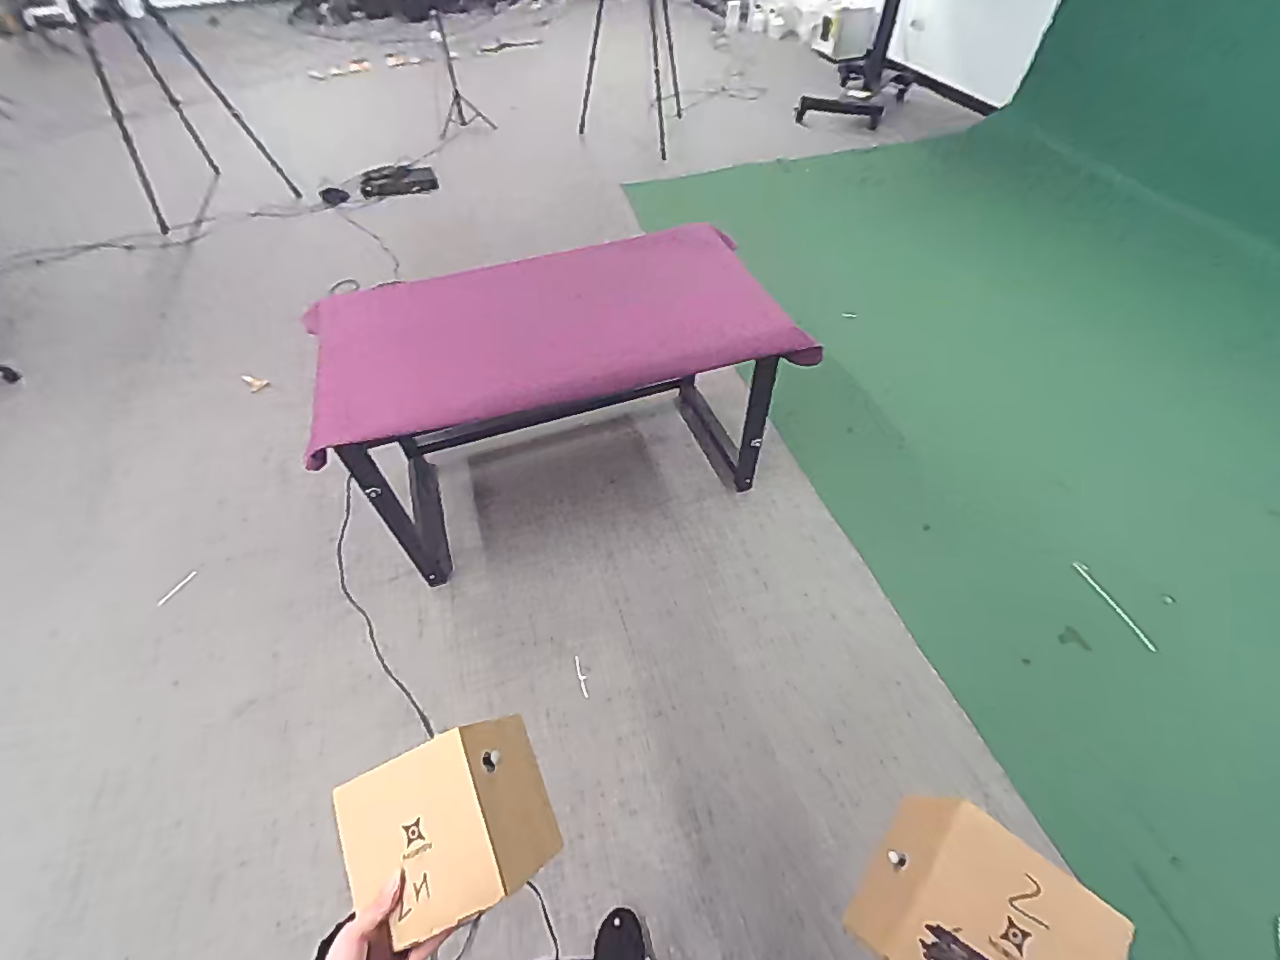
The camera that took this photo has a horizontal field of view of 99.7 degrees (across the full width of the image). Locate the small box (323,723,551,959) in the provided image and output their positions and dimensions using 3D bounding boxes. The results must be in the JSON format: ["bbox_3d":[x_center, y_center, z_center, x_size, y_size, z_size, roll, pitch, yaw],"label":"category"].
[{"bbox_3d":[-0.229,0.404,0.637,0.168,0.176,0.179,-27,68,2],"label":"small box"}]
